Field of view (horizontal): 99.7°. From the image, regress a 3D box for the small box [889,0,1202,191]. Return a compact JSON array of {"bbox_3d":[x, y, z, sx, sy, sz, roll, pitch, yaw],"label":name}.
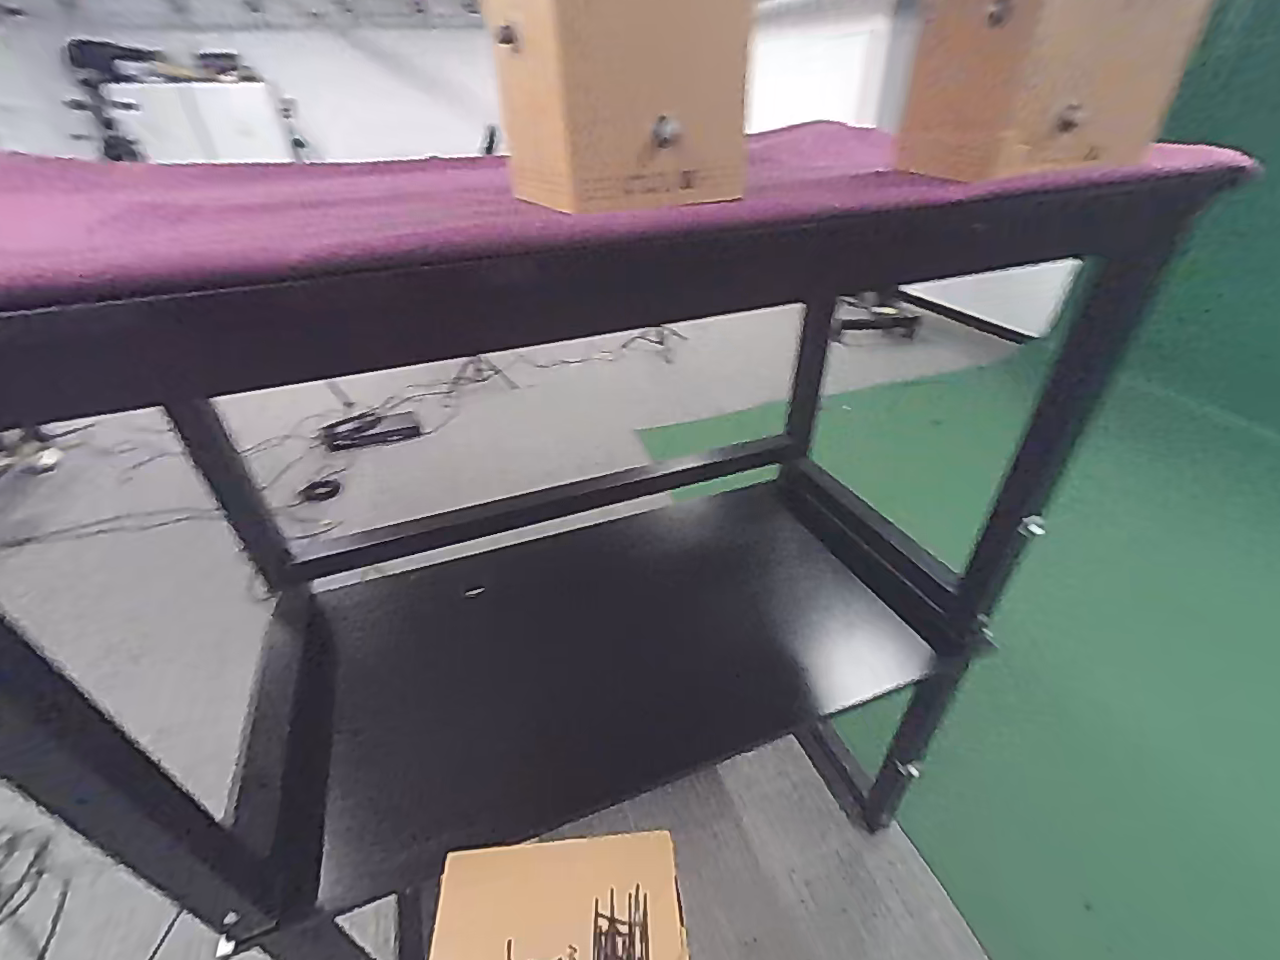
[{"bbox_3d":[0.386,-0.401,0.553,0.168,0.176,0.179,-8,37,-7],"label":"small box"}]
